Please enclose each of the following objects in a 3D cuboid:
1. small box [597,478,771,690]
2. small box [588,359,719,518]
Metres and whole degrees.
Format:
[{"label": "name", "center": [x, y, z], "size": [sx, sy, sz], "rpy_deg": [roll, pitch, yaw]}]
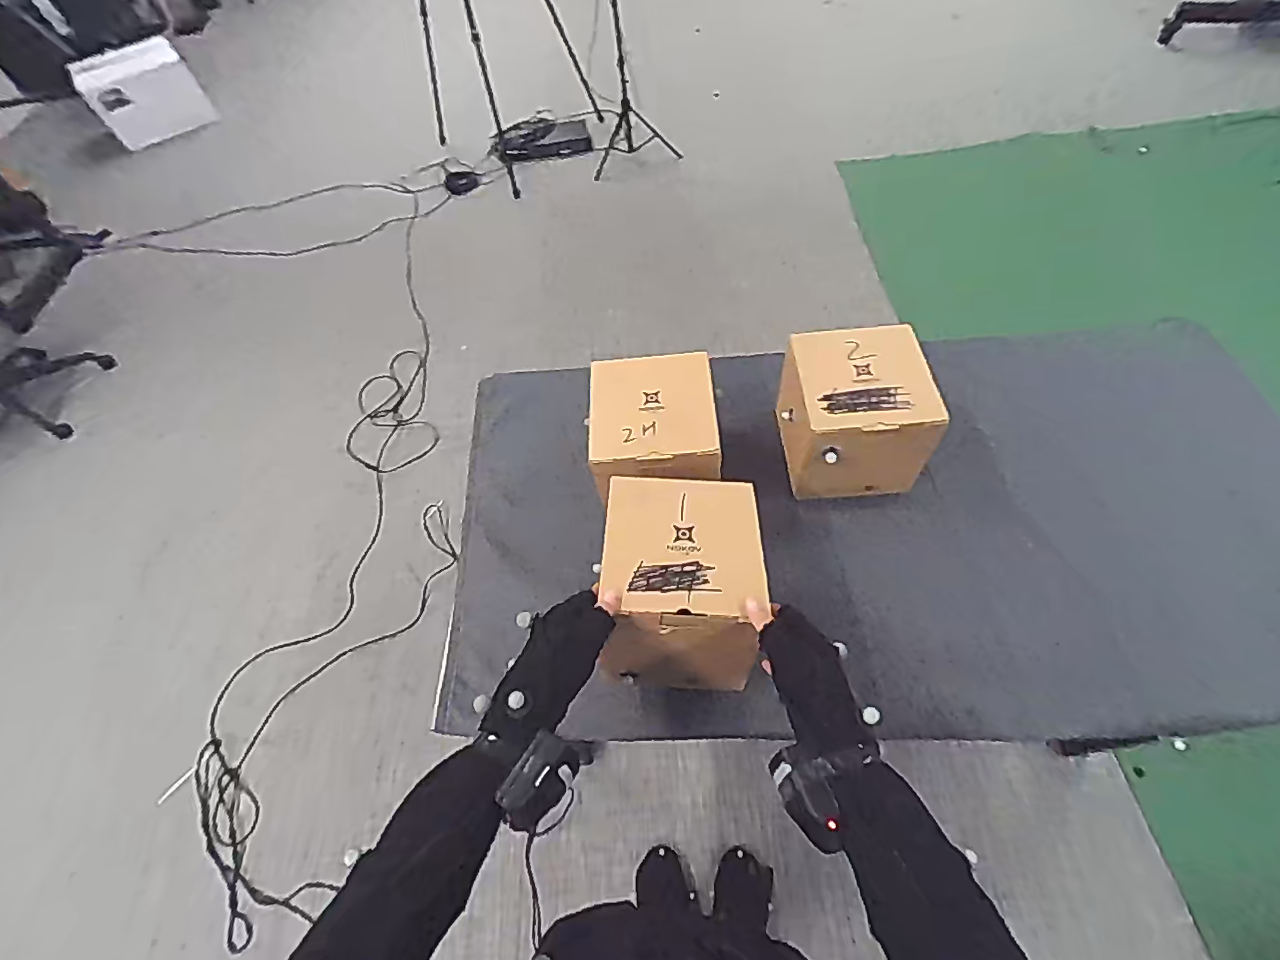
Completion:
[{"label": "small box", "center": [0.043, 0.121, 0.614], "size": [0.168, 0.176, 0.179], "rpy_deg": [4, 46, 0]}, {"label": "small box", "center": [0.022, -0.051, 0.783], "size": [0.168, 0.176, 0.179], "rpy_deg": [-4, 58, 4]}]
